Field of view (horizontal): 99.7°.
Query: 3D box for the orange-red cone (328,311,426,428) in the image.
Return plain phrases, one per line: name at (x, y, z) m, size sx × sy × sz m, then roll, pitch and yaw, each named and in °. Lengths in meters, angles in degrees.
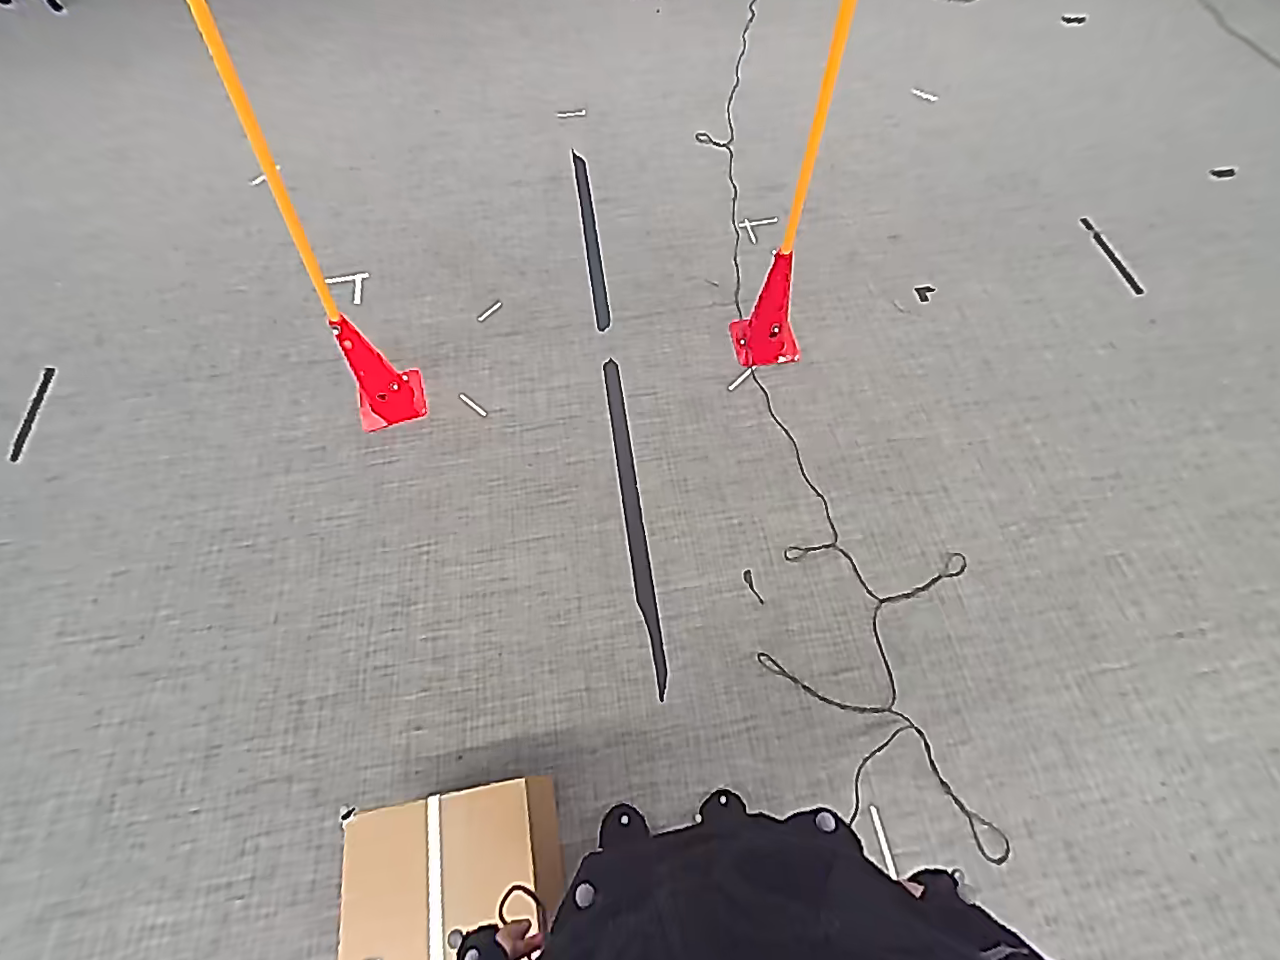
orange-red cone at (-0.785, -0.338, 1.548) m, size 0.199 × 0.360 × 0.198 m, roll -17°, pitch 62°, yaw -6°
